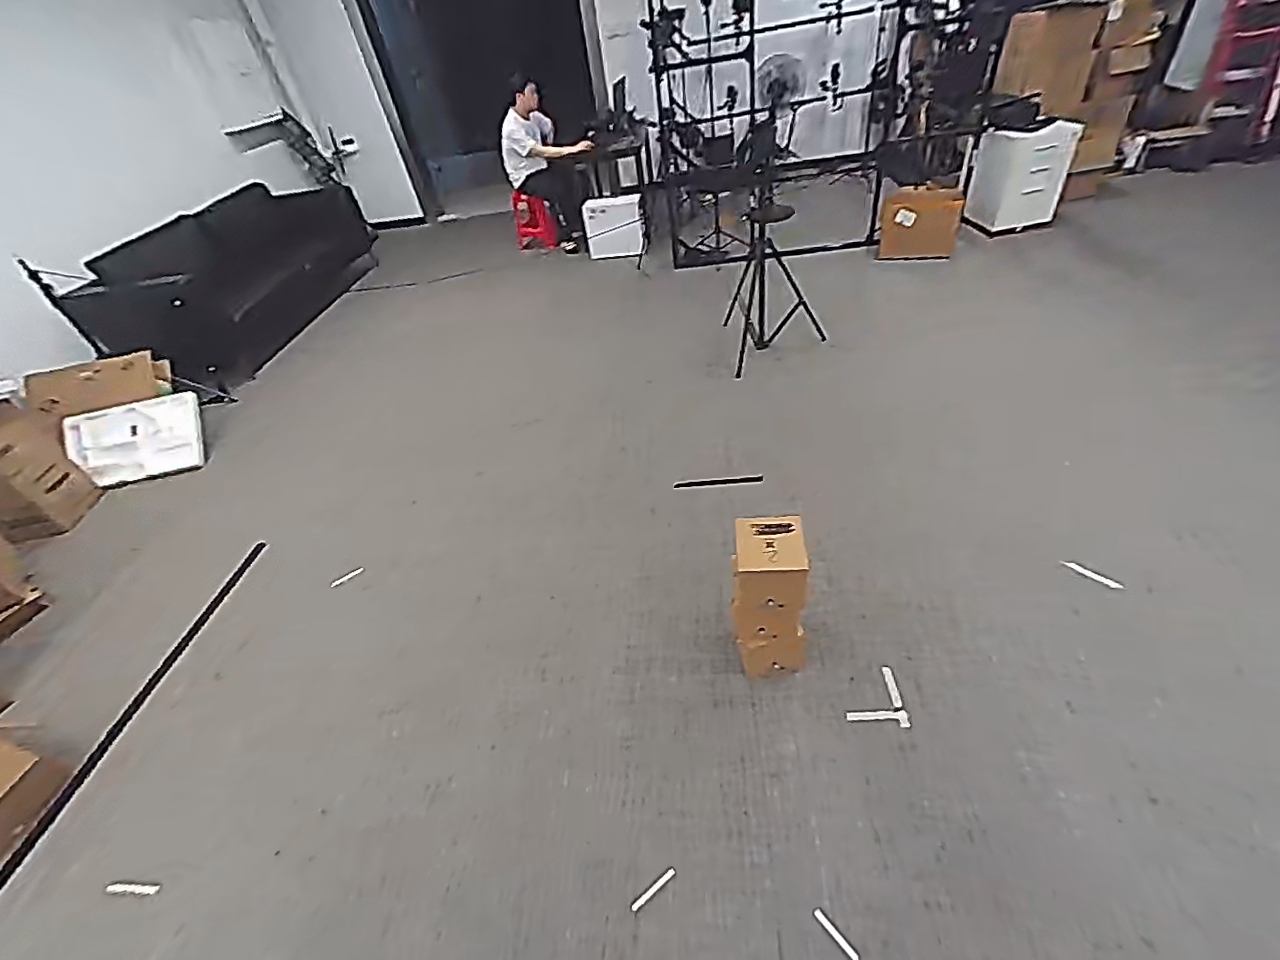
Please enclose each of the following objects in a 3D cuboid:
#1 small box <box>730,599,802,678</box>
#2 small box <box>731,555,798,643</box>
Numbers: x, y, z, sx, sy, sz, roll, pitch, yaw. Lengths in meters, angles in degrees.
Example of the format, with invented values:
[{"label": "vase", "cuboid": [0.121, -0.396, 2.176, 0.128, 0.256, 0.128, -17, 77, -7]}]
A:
[{"label": "small box", "cuboid": [0.368, 0.456, 1.602, 0.168, 0.176, 0.179, -12, 40, -1]}, {"label": "small box", "cuboid": [0.339, 0.330, 1.503, 0.168, 0.176, 0.179, -3, 41, 8]}]
